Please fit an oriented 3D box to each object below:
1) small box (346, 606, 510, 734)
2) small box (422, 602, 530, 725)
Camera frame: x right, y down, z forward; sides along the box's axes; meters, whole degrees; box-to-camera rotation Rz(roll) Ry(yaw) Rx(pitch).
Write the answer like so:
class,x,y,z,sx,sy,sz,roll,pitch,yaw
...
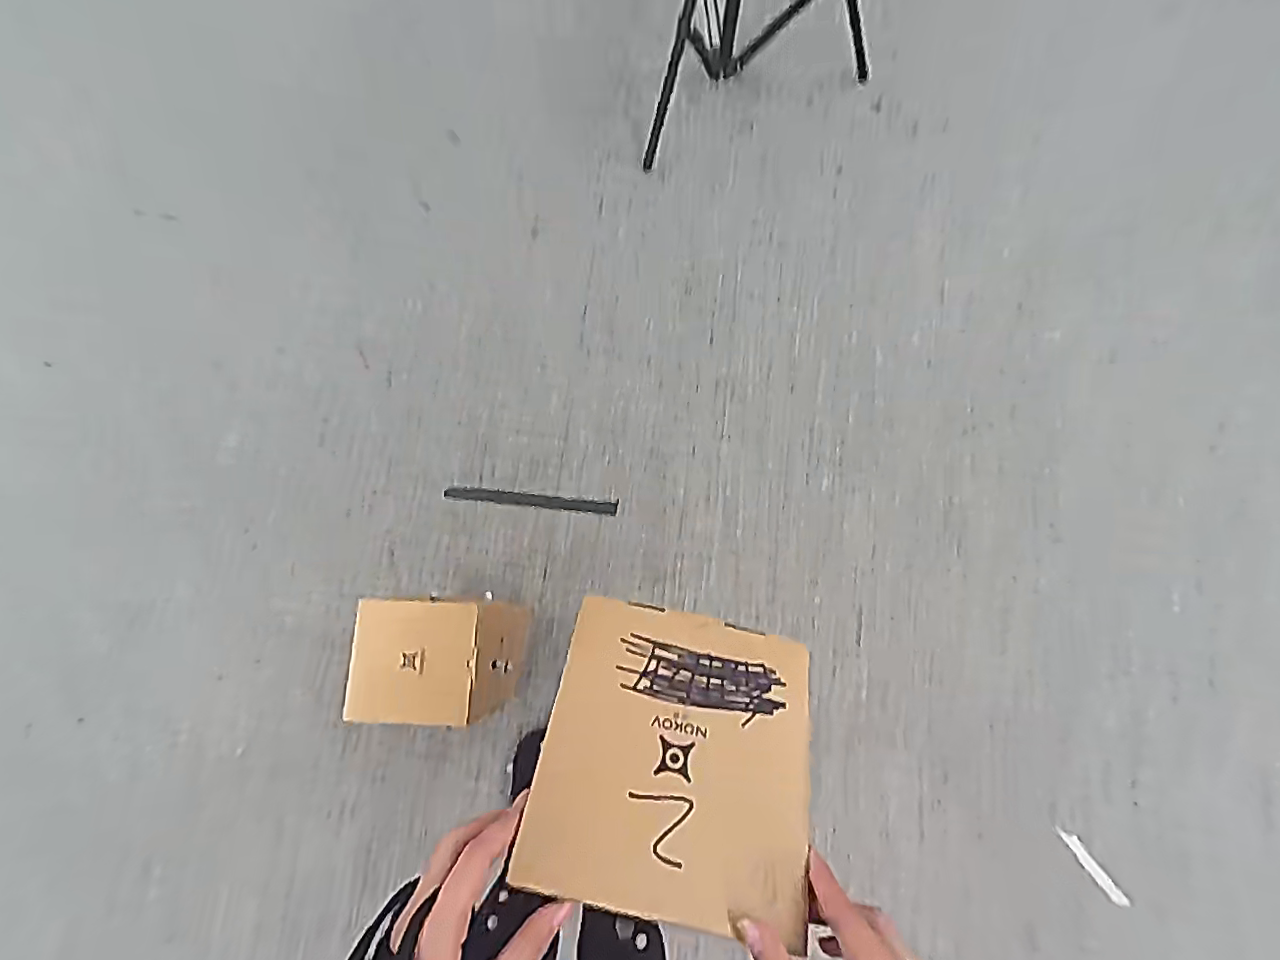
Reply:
class,x,y,z,sx,sy,sz,roll,pitch,yaw
small box,-0.312,0.281,0.831,0.179,0.176,0.168,2,78,0
small box,-0.308,0.324,0.988,0.168,0.176,0.179,9,77,2
